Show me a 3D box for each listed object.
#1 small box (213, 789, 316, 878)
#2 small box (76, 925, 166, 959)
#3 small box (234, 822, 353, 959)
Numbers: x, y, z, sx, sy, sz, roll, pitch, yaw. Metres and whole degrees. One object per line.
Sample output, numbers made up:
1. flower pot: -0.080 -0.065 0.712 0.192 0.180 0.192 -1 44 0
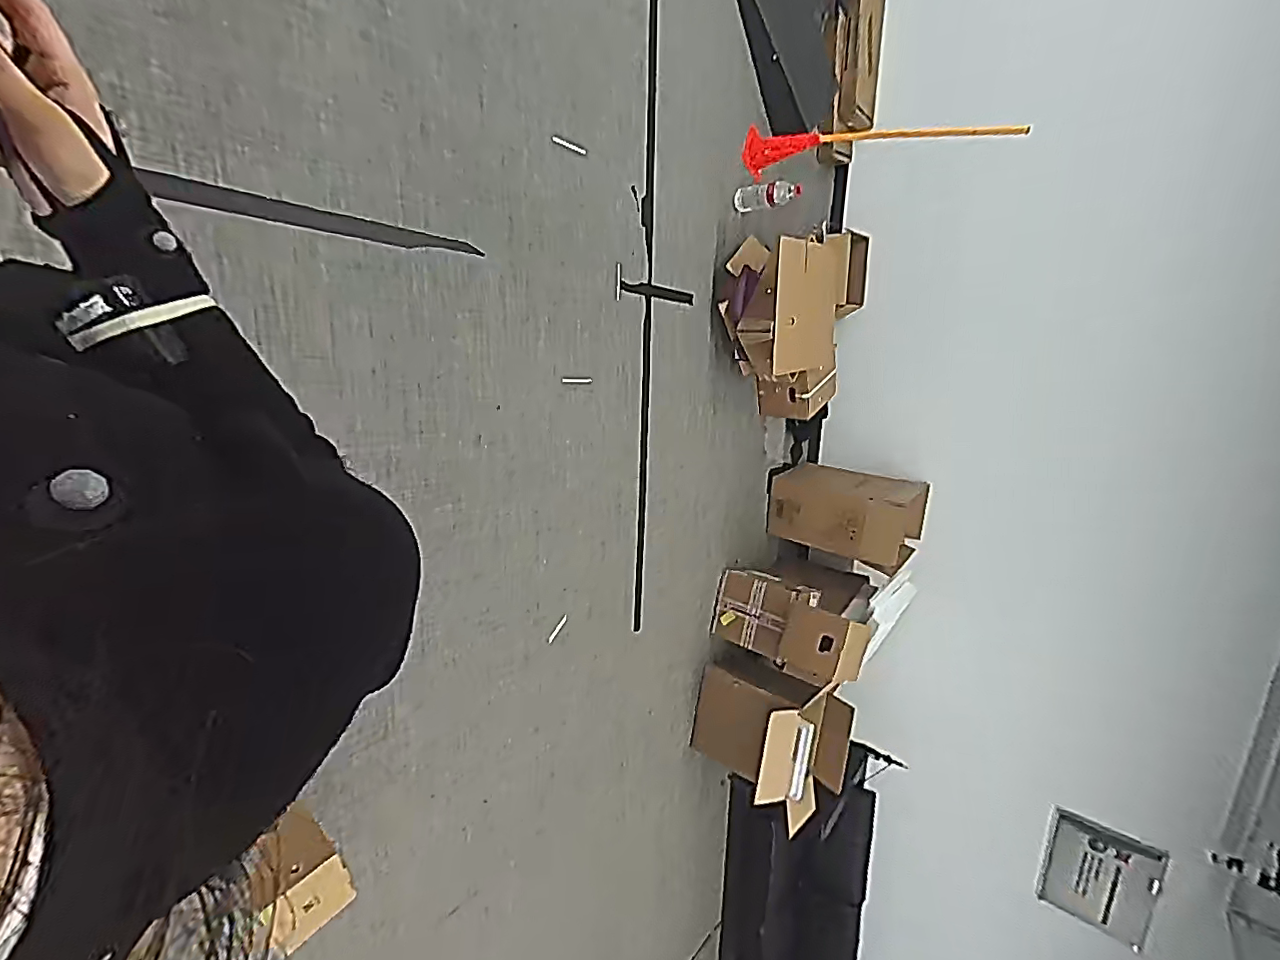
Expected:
1. small box: -0.963 0.957 1.412 0.179 0.176 0.168 -30 122 -45
2. small box: -1.040 1.036 1.063 0.168 0.176 0.179 -14 111 -49
3. small box: -0.838 0.985 1.310 0.179 0.176 0.168 -27 119 -44
